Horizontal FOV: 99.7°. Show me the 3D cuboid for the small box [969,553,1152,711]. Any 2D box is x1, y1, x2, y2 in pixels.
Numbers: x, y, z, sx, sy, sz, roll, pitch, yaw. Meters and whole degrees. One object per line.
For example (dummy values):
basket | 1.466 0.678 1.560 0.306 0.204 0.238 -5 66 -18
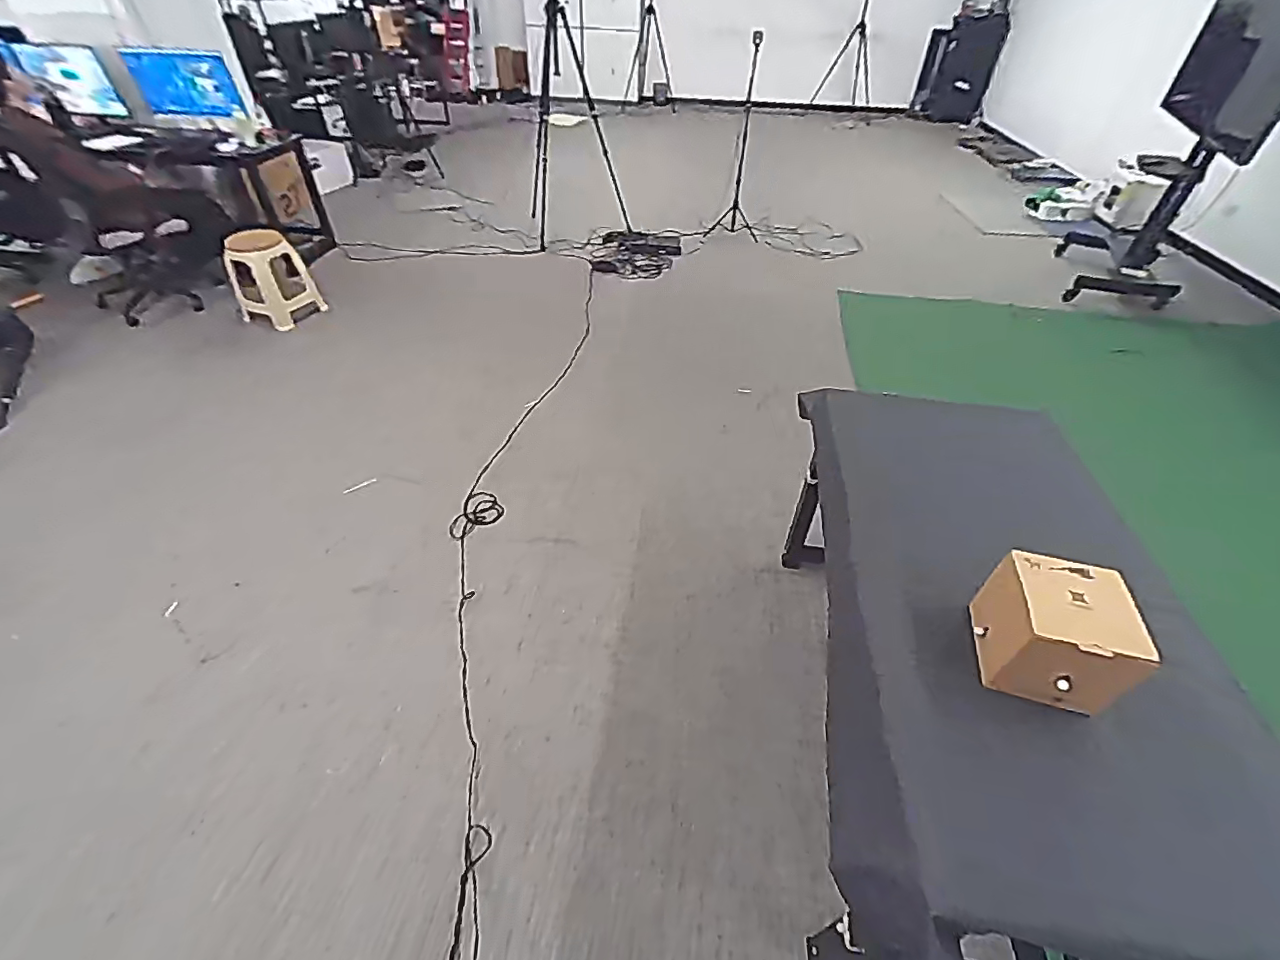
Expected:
small box | 0.677 0.254 0.899 0.168 0.176 0.179 13 45 11
